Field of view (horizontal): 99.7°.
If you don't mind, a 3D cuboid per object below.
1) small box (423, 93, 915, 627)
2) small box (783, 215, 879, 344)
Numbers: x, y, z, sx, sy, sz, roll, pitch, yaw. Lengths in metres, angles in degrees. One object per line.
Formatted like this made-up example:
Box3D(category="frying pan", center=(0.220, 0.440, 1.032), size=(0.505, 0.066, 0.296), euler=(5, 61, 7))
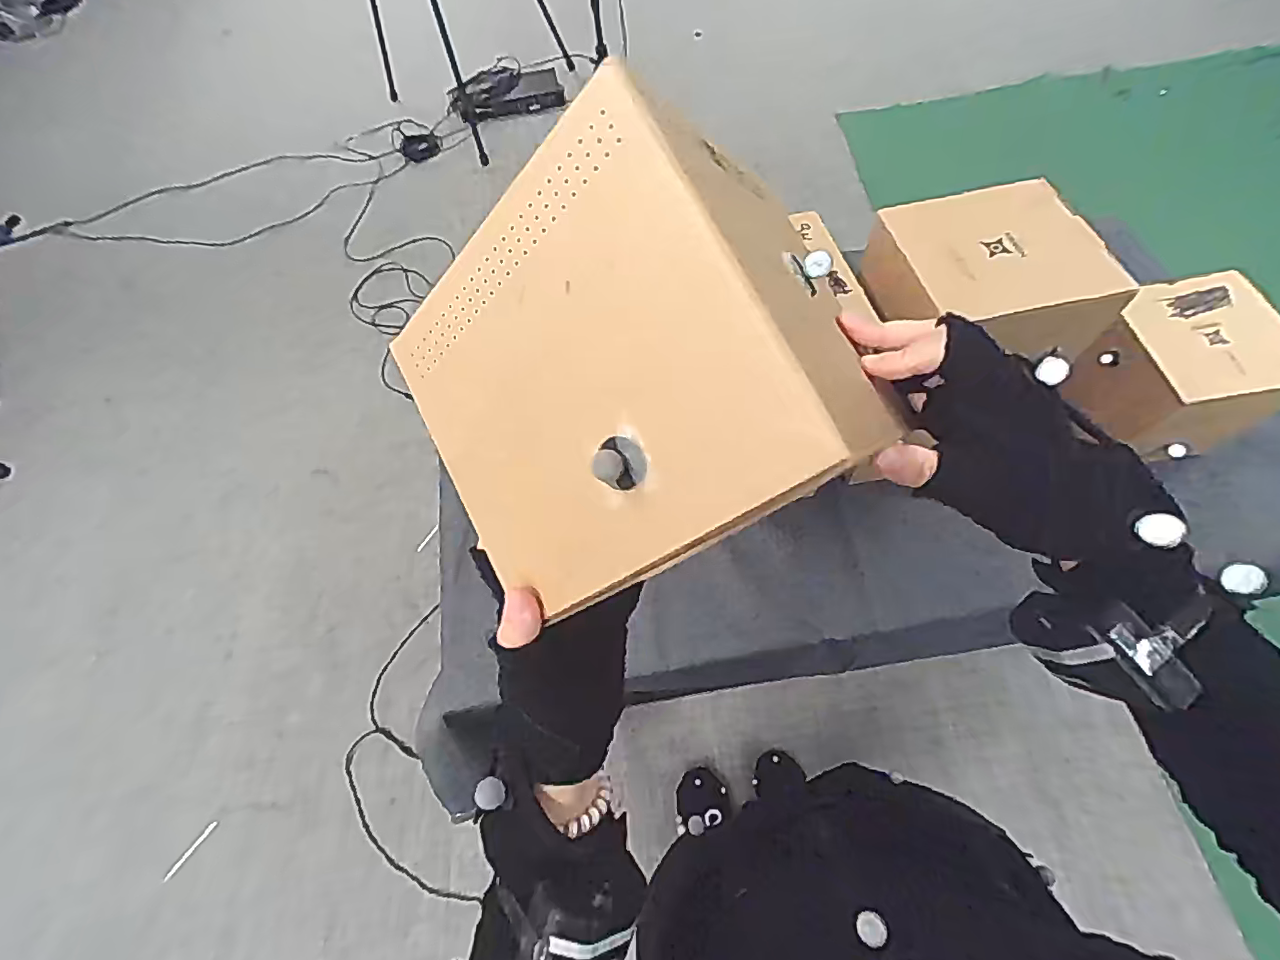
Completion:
Box3D(category="small box", center=(0.015, -0.052, 0.294), size=(0.179, 0.168, 0.176), euler=(-33, 80, 32))
Box3D(category="small box", center=(0.125, -0.148, 0.593), size=(0.179, 0.176, 0.168), euler=(-14, 63, -1))
